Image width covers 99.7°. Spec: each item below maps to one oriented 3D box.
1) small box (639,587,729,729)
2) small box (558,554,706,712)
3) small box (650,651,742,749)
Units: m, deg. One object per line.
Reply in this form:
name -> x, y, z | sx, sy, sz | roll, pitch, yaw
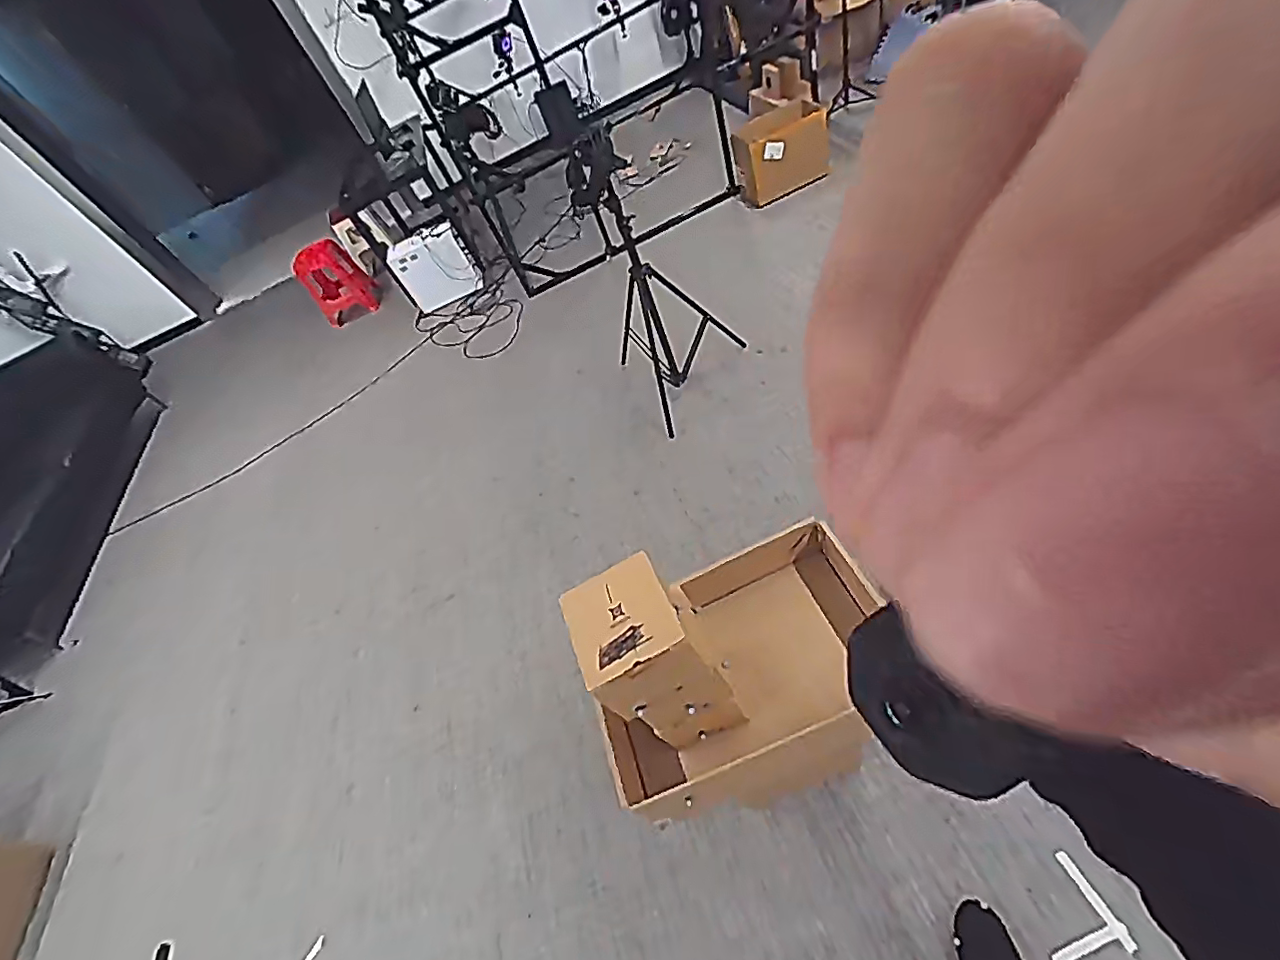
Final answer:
small box -> 0.050, 0.341, 1.027 | 0.168, 0.176, 0.179 | -27, 49, 2
small box -> -0.009, 0.261, 0.895 | 0.168, 0.176, 0.179 | -29, 48, 0
small box -> 0.099, 0.441, 1.148 | 0.168, 0.176, 0.179 | -26, 49, 2
